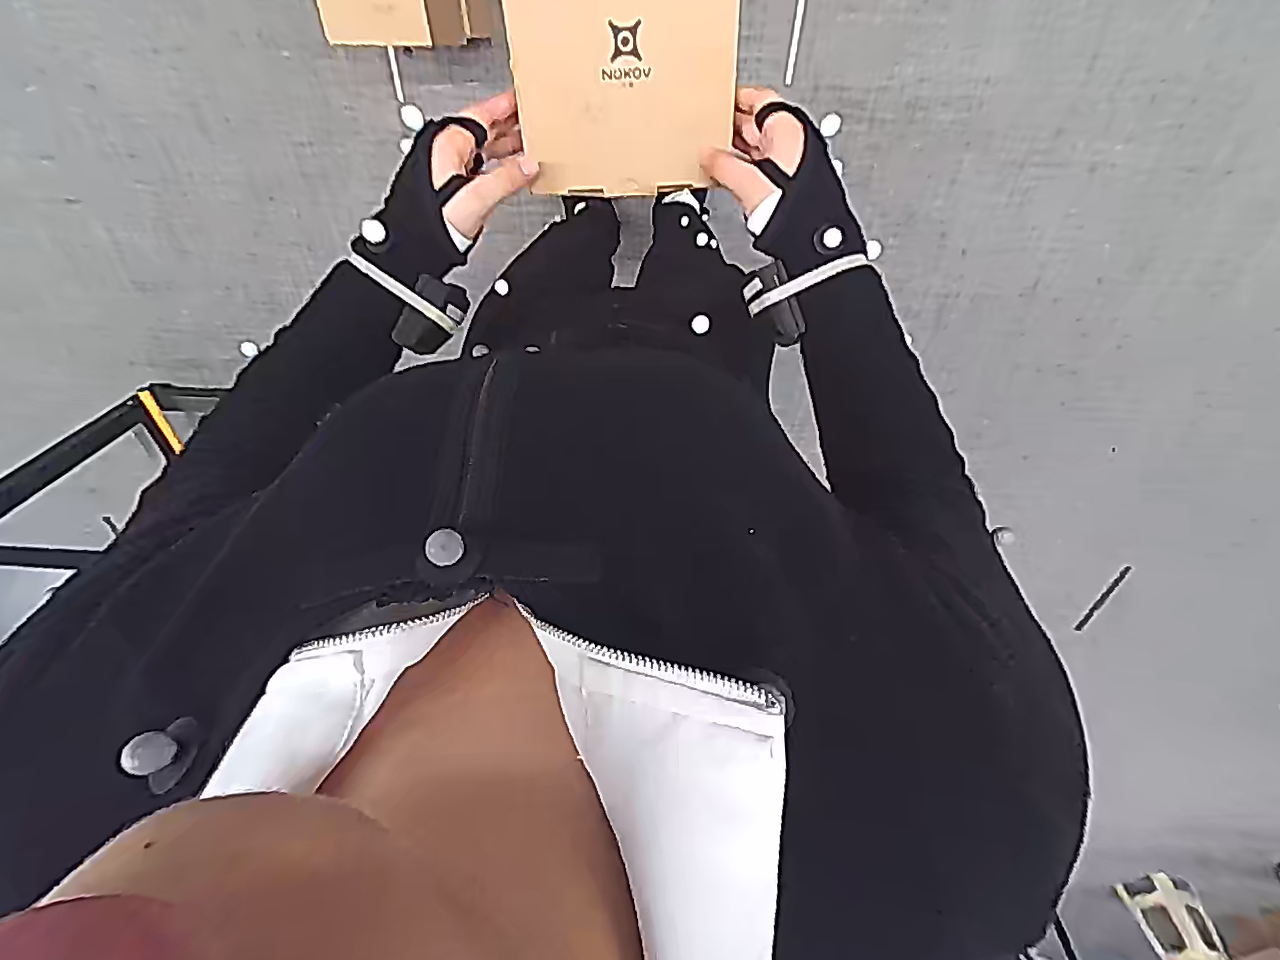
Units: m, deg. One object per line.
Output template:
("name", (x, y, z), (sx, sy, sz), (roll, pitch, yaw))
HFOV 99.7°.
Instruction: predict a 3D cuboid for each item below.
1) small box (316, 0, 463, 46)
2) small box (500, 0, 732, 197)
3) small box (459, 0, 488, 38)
("small box", (-0.389, -0.782, 0.830), (0.168, 0.176, 0.179), (3, 131, 3))
("small box", (-0.020, -0.357, 0.463), (0.168, 0.176, 0.179), (-3, 127, -2))
("small box", (-0.378, -0.888, 0.952), (0.179, 0.176, 0.168), (2, 129, 3))
